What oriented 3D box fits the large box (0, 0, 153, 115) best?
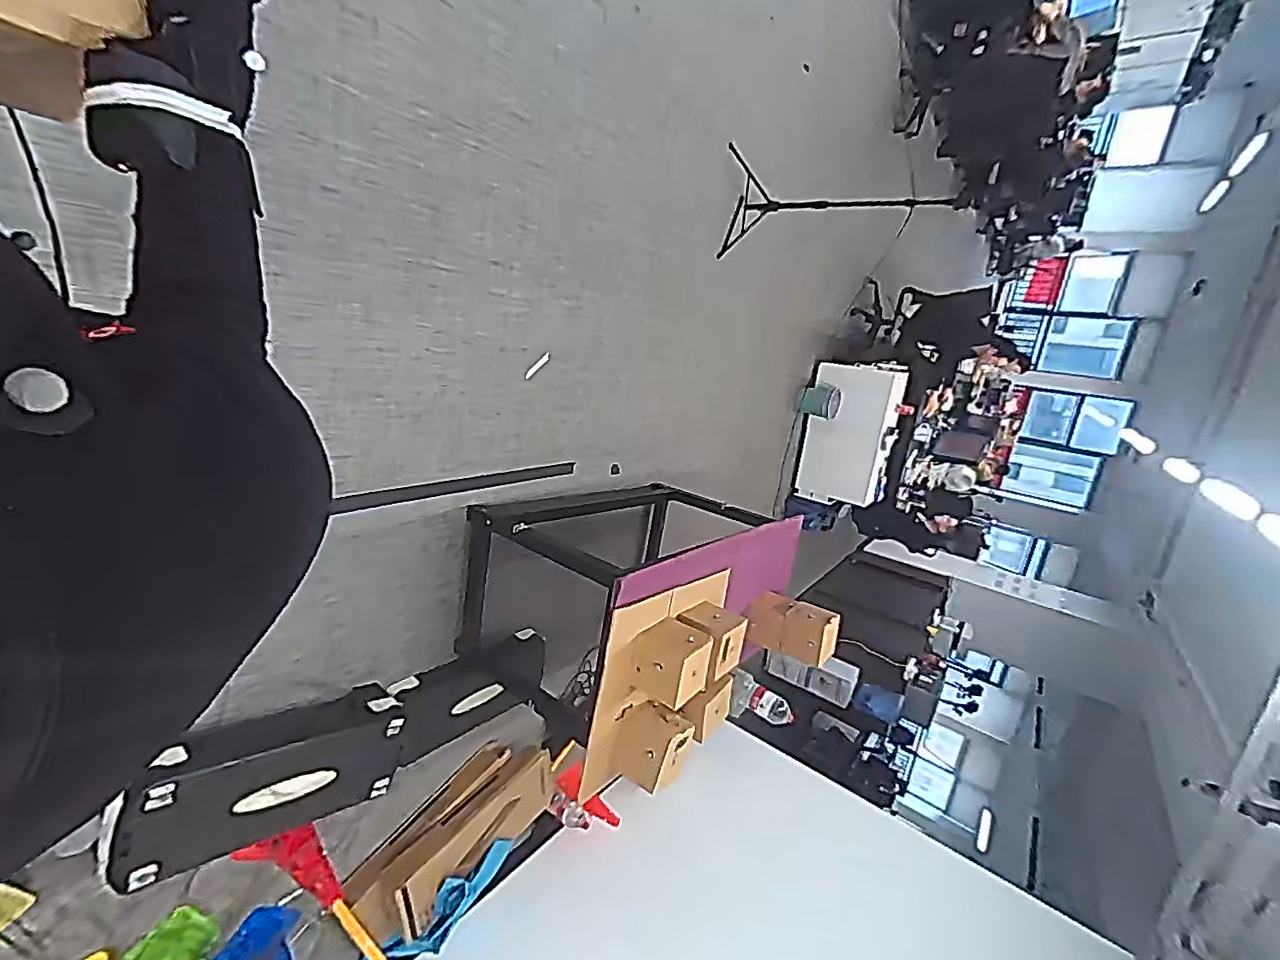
[{"bbox_3d":[-0.559,-0.452,0.272,0.408,0.320,0.320,-8,113,-53],"label":"large box"}]
